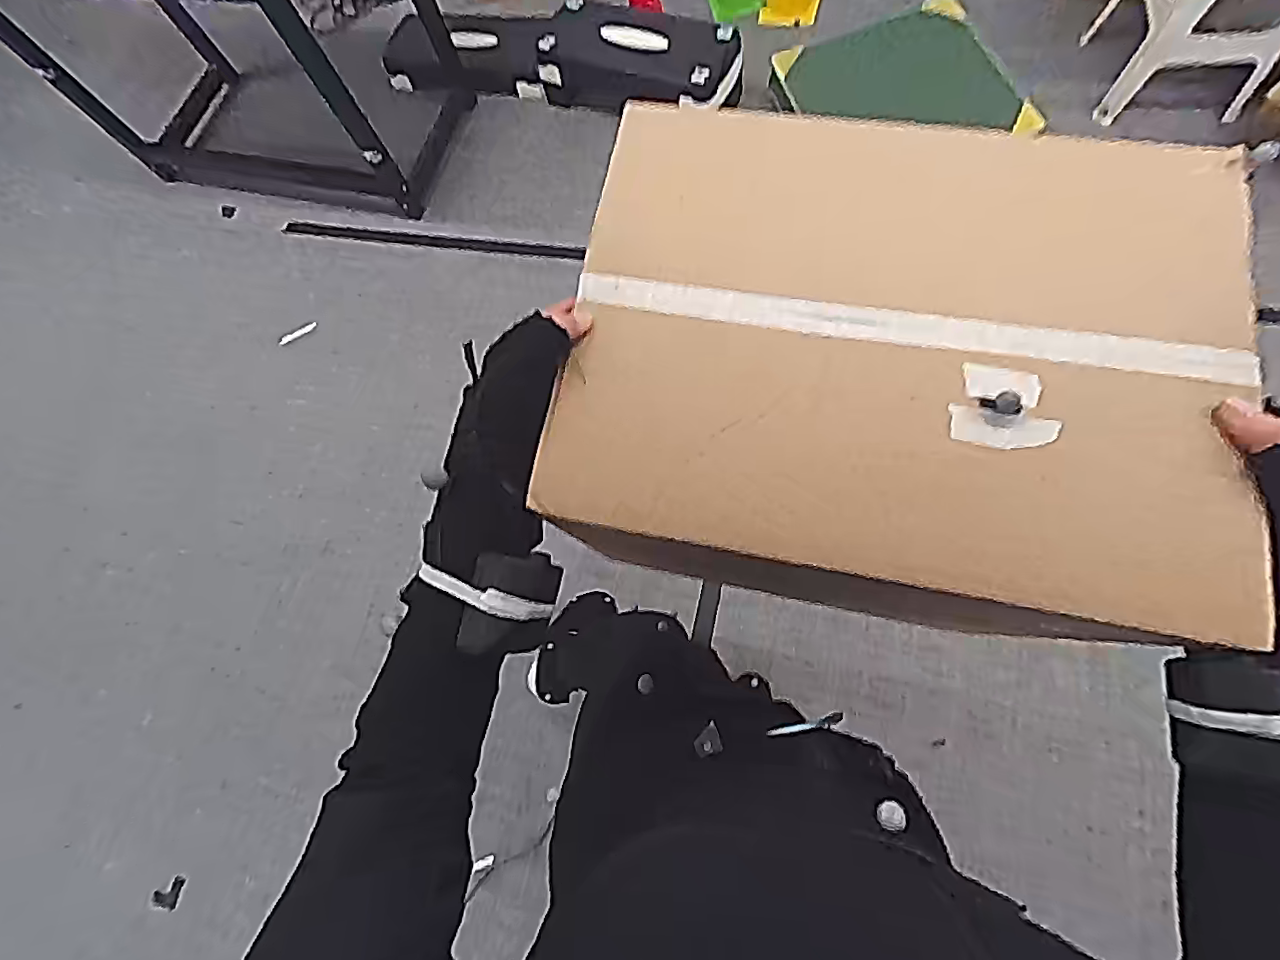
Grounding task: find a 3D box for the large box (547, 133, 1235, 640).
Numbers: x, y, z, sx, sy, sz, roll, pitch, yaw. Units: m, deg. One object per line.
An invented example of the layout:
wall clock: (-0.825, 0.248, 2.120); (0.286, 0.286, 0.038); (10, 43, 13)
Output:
large box: (0.171, -0.053, 0.496); (0.408, 0.320, 0.320); (10, 78, 8)
